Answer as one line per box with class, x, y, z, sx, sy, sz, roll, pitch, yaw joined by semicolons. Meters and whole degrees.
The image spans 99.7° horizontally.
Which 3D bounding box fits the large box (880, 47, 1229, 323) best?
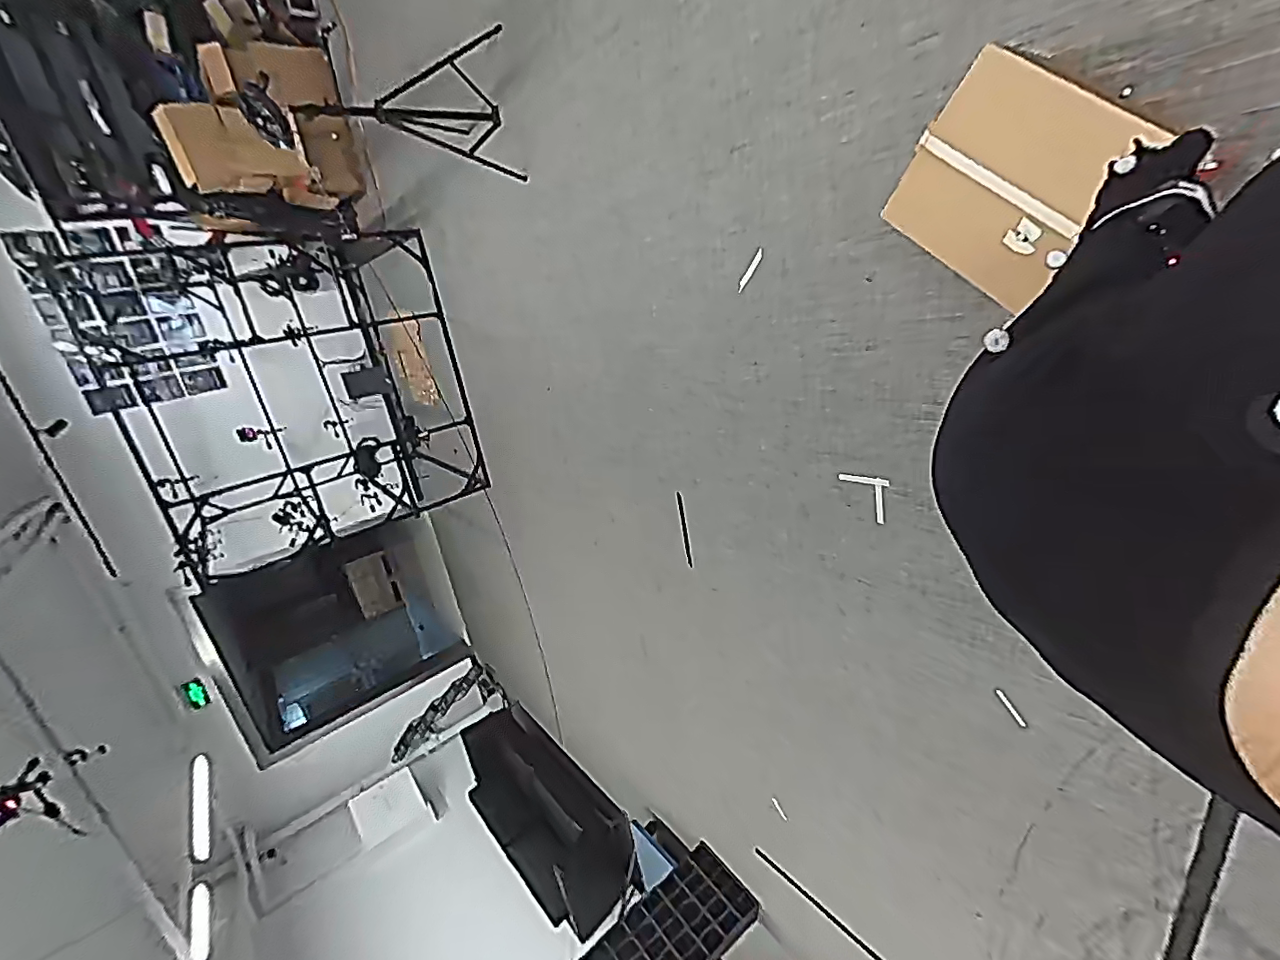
large box;0.784;-0.574;1.061;0.408;0.320;0.320;50;144;22
